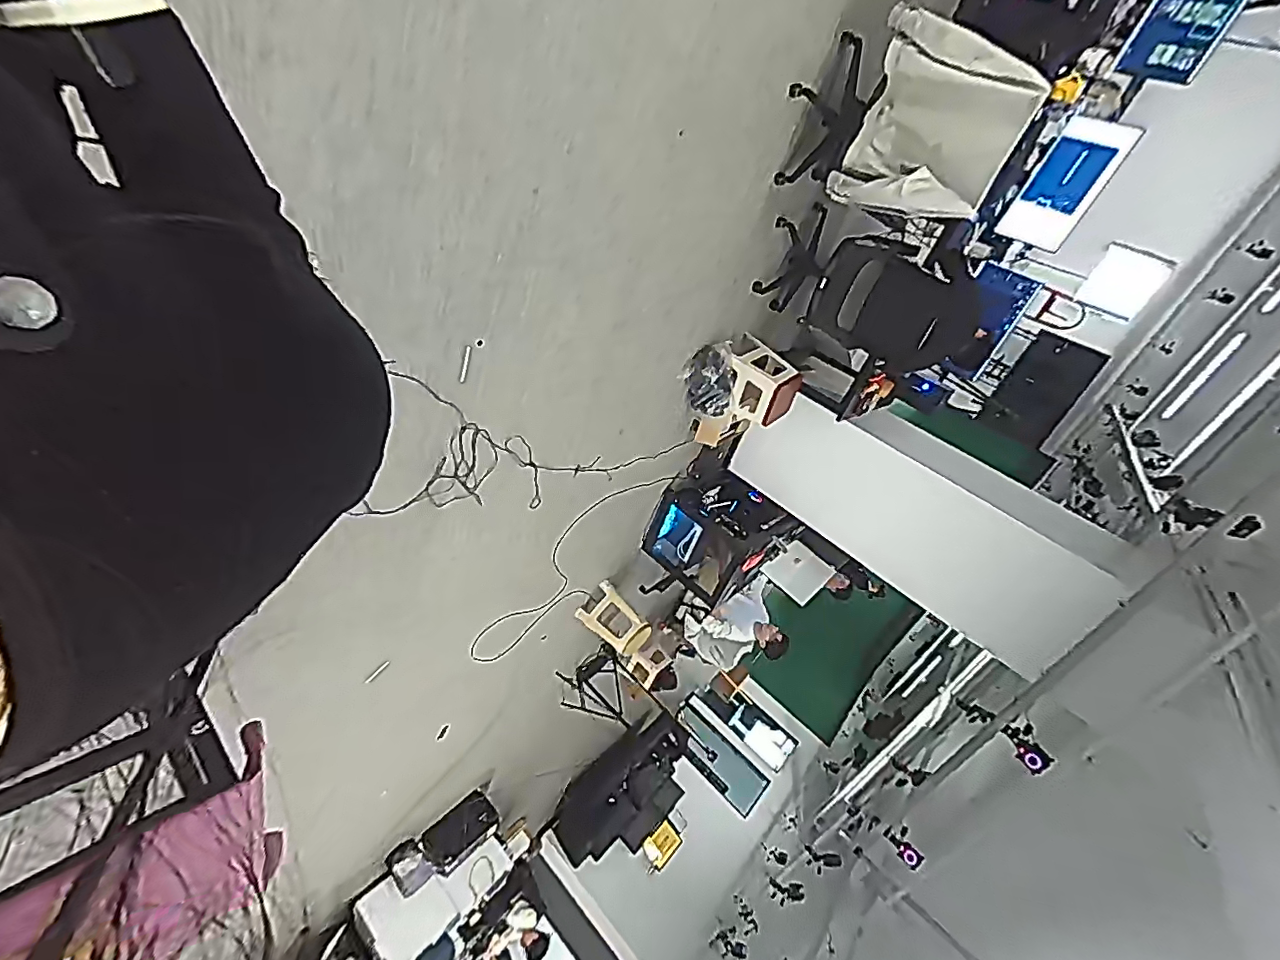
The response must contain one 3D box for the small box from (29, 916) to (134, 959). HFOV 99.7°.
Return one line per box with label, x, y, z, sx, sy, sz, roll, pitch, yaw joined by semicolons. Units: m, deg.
small box;-1.092;1.006;1.047;0.168;0.176;0.179;-17;137;-51
